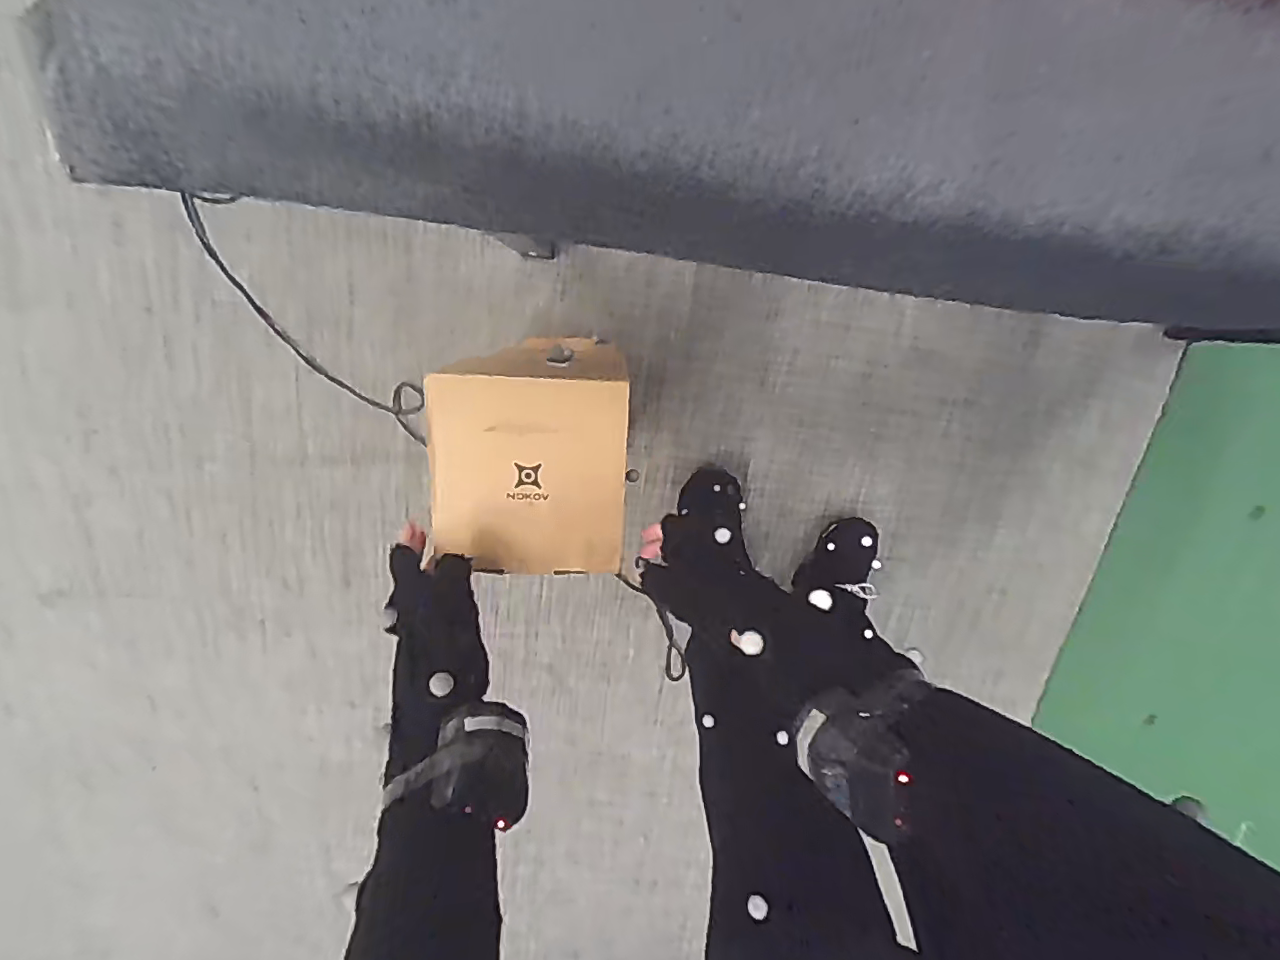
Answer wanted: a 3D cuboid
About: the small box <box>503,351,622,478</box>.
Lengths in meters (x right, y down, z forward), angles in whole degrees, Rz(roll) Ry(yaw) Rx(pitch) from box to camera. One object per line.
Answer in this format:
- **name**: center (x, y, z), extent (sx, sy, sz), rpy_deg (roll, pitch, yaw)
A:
- **small box**: center (-0.114, -0.111, 0.850), extent (0.168, 0.176, 0.179), rpy_deg (-1, 107, -3)
